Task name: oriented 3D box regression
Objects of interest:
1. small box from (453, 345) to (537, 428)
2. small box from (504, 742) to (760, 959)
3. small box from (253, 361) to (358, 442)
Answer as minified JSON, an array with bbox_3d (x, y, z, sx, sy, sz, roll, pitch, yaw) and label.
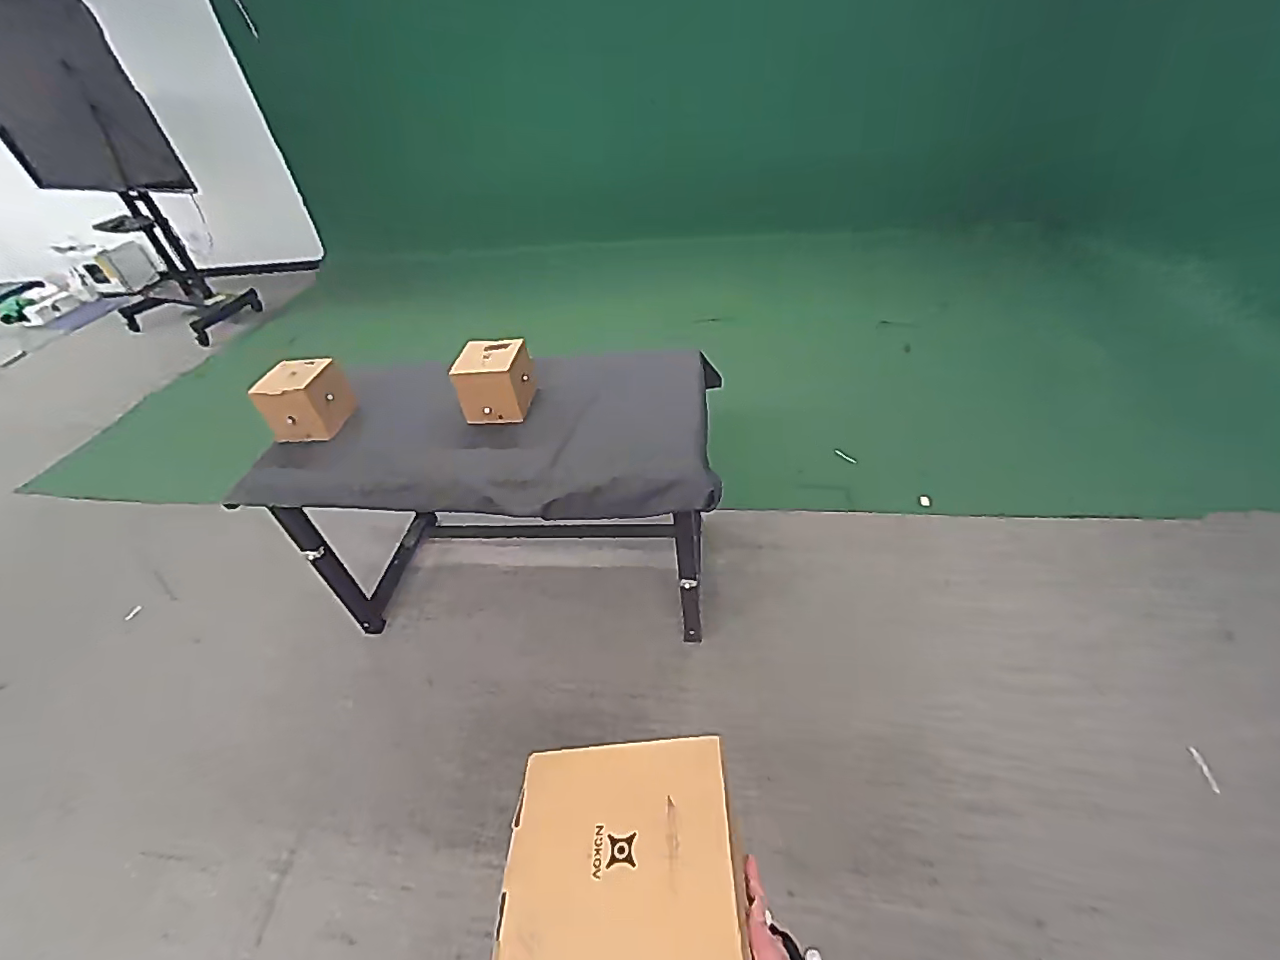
[{"bbox_3d":[-0.400,-0.265,1.533,0.168,0.176,0.179,0,43,8],"label":"small box"},{"bbox_3d":[0.005,0.355,0.468,0.179,0.176,0.168,-8,36,7],"label":"small box"},{"bbox_3d":[-0.950,-0.222,1.558,0.168,0.176,0.179,-1,42,5],"label":"small box"}]
